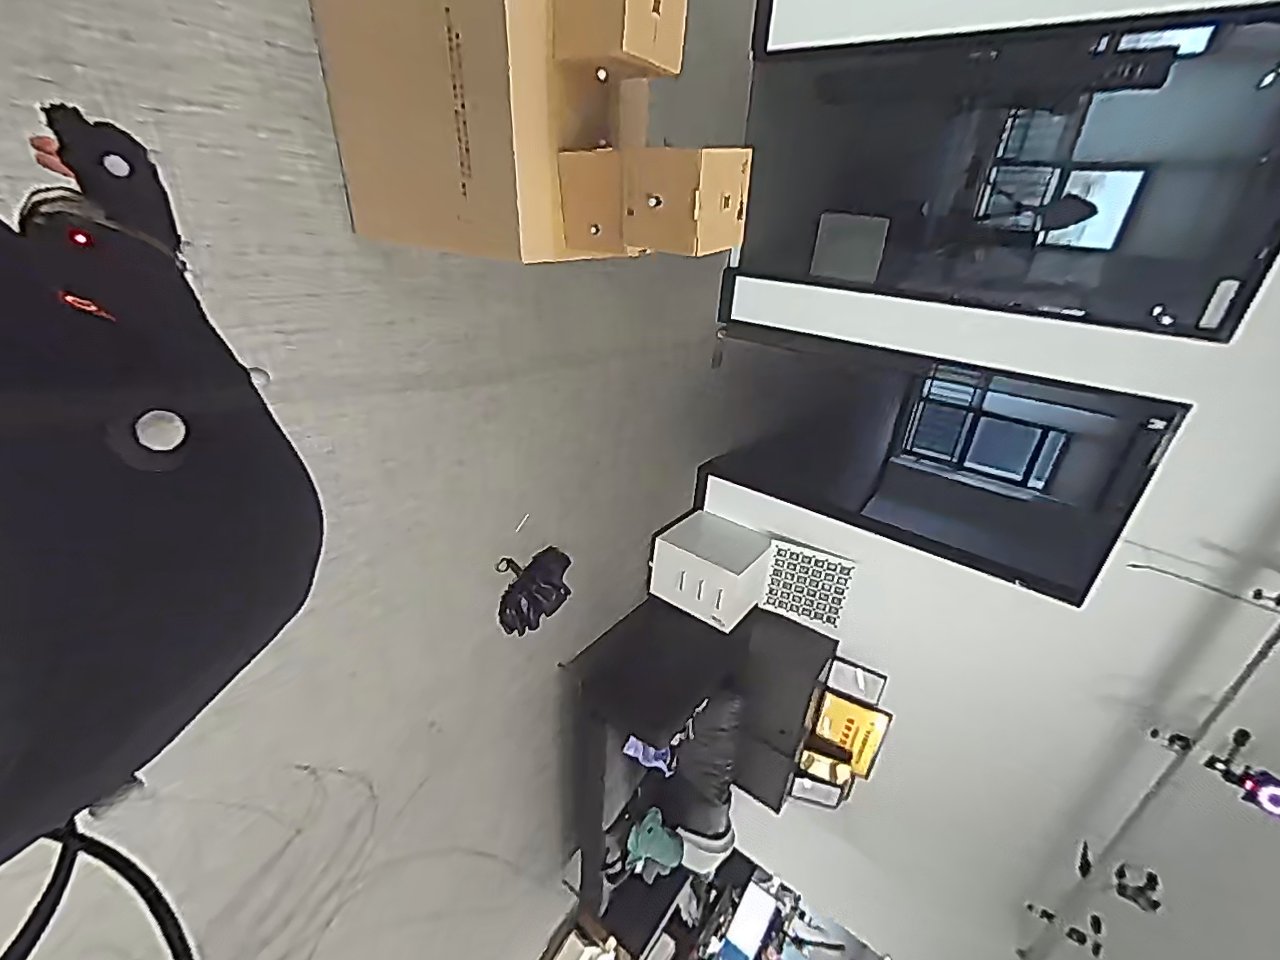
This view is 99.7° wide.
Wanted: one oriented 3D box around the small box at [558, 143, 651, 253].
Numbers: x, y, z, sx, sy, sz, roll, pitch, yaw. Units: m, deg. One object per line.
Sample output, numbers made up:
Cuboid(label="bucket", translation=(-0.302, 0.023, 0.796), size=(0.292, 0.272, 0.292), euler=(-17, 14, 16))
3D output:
Cuboid(label="small box", translation=(-0.043, -0.573, 1.090), size=(0.168, 0.176, 0.179), euler=(-38, 136, -39))

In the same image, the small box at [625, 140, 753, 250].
Cuboid(label="small box", translation=(0.085, -0.528, 0.999), size=(0.179, 0.176, 0.168), euler=(-34, 136, -42))

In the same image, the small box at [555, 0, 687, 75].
Cuboid(label="small box", translation=(-0.033, -0.833, 0.941), size=(0.168, 0.176, 0.179), euler=(-25, 129, -46))
